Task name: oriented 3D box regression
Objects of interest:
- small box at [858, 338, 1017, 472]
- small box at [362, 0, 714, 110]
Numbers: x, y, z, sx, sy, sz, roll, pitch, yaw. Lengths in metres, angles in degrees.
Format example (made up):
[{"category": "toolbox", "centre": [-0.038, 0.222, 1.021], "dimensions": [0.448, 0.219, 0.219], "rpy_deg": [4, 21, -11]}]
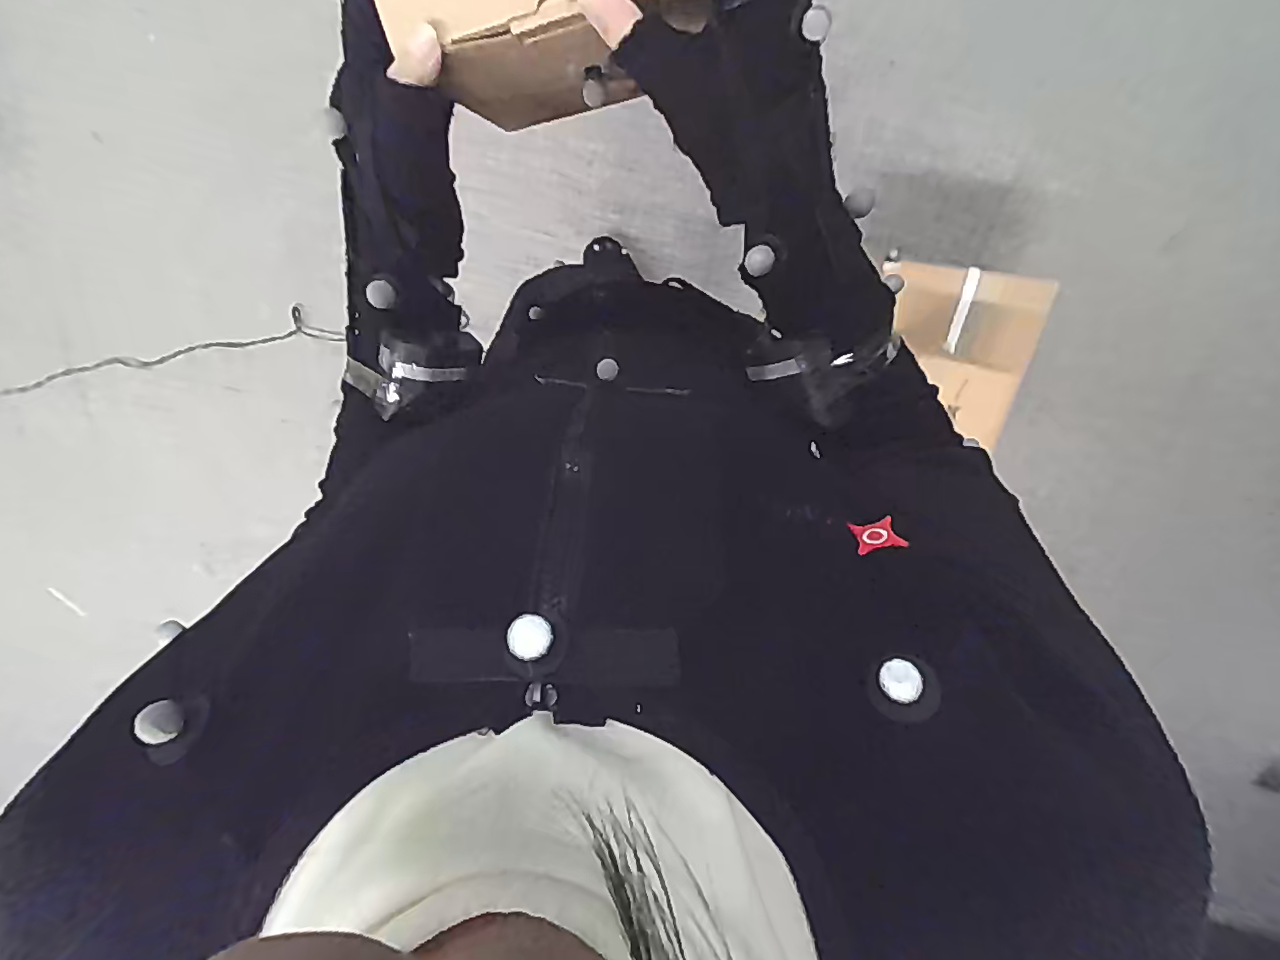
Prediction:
[{"category": "small box", "centre": [0.513, -0.140, 0.967], "dimensions": [0.168, 0.176, 0.179], "rpy_deg": [13, 113, -1]}, {"category": "small box", "centre": [-0.053, -0.322, 0.287], "dimensions": [0.168, 0.176, 0.179], "rpy_deg": [-9, 113, 11]}]
